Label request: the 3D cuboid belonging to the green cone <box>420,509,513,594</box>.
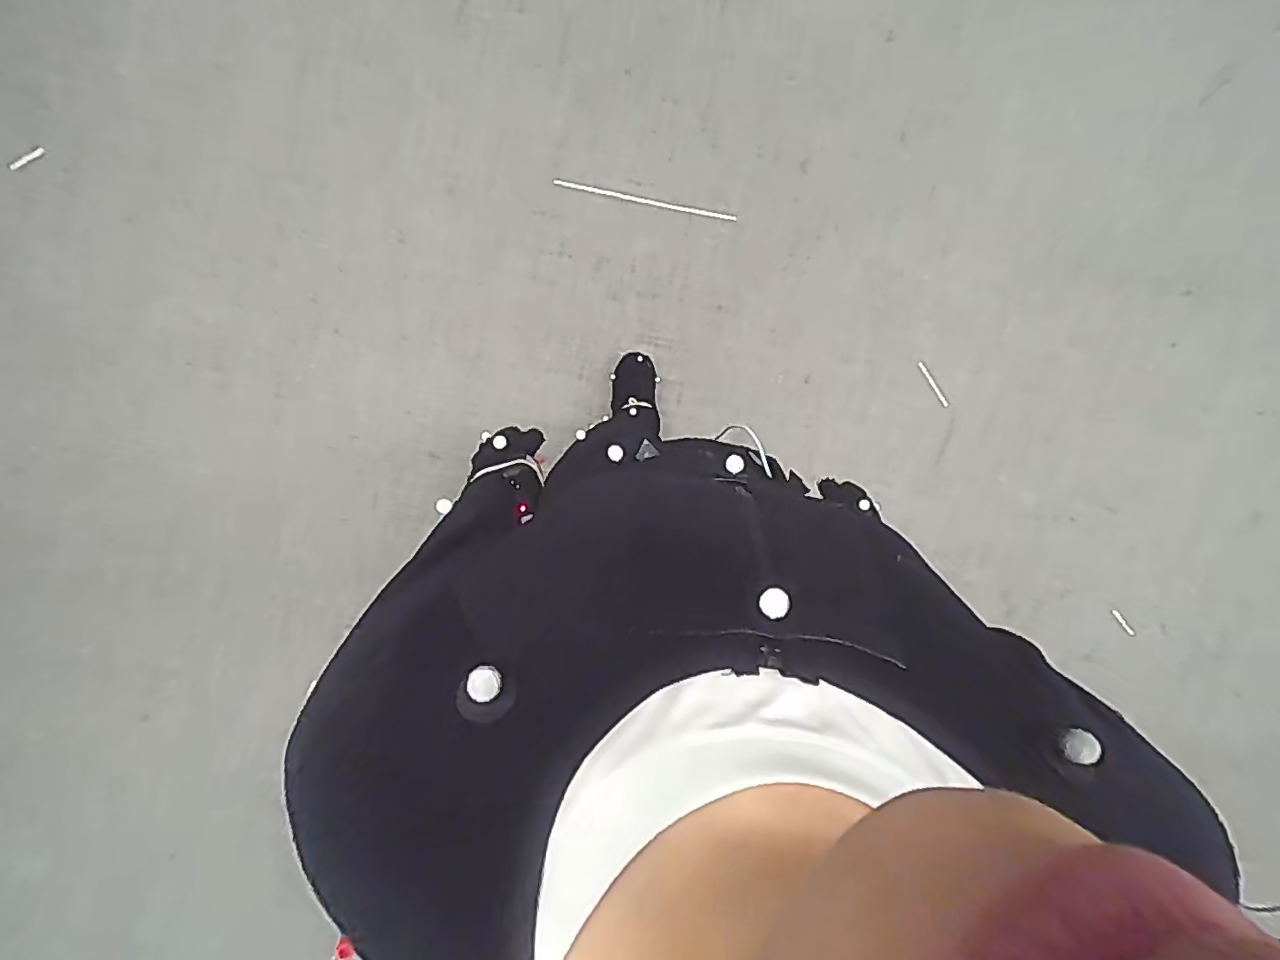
[{"bbox_3d":[-0.448,0.204,1.294,0.202,0.368,0.200,10,95,-3],"label":"green cone"}]
